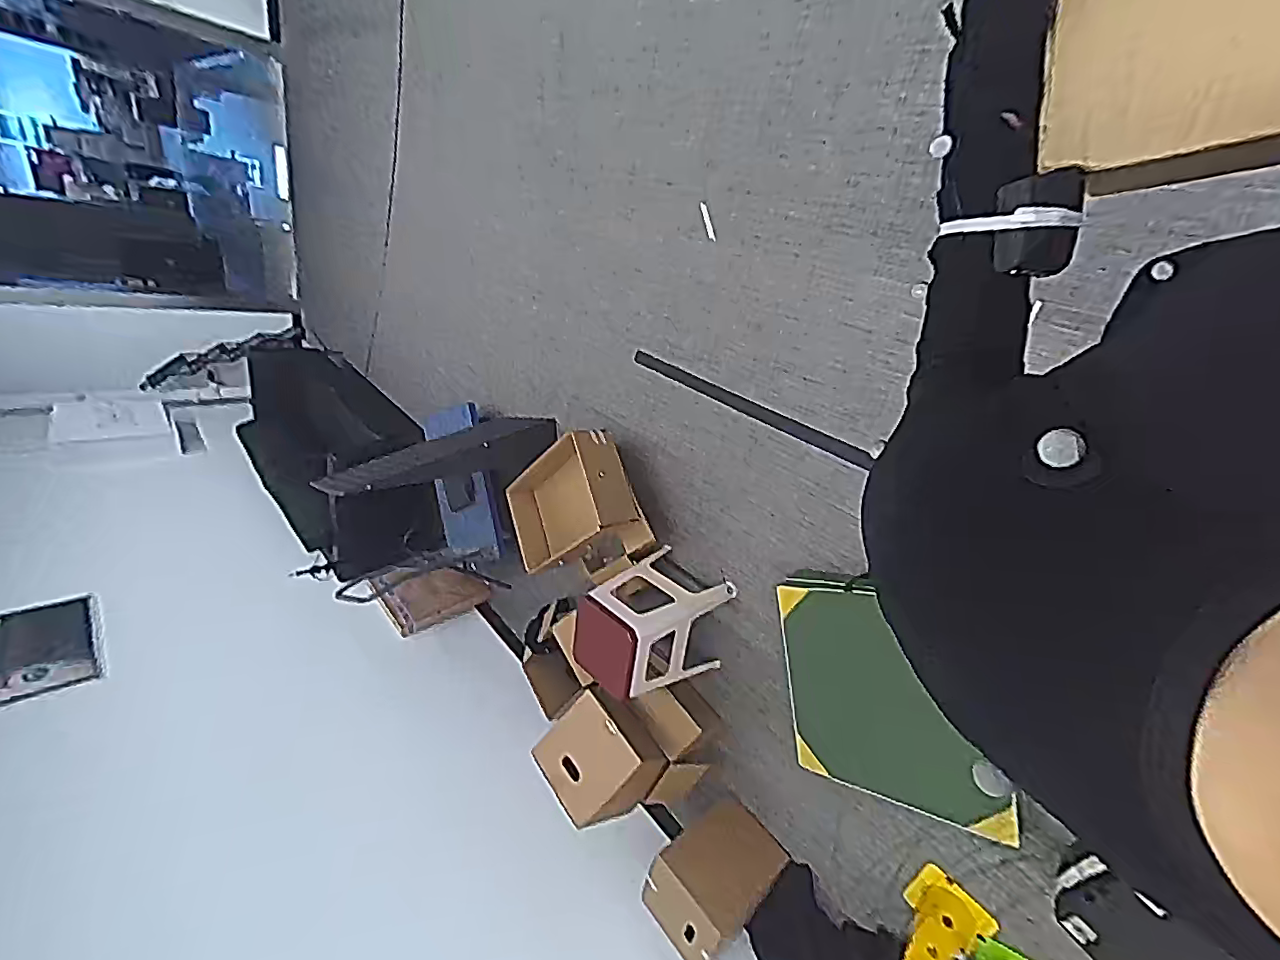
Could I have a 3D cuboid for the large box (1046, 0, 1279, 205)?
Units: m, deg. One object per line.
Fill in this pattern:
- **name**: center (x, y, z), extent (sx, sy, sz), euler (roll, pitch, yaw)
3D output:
- **large box**: center (0.524, -0.385, 0.328), extent (0.408, 0.320, 0.320), euler (9, 115, 42)
